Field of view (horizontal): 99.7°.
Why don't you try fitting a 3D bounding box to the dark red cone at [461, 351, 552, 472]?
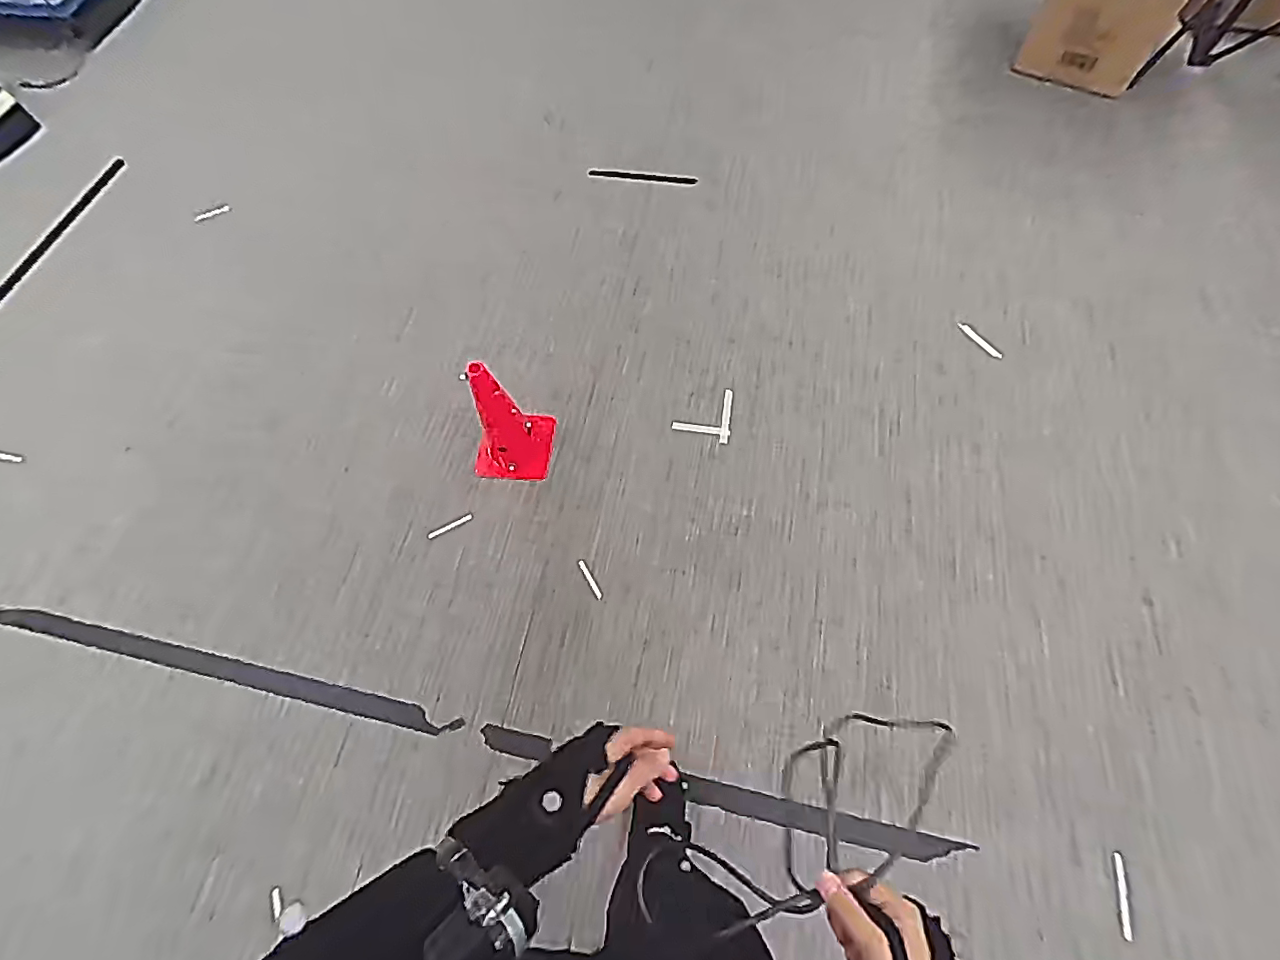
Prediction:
[{"bbox_3d":[-0.351,-0.178,1.304,0.202,0.394,0.201,3,66,4],"label":"dark red cone"}]
